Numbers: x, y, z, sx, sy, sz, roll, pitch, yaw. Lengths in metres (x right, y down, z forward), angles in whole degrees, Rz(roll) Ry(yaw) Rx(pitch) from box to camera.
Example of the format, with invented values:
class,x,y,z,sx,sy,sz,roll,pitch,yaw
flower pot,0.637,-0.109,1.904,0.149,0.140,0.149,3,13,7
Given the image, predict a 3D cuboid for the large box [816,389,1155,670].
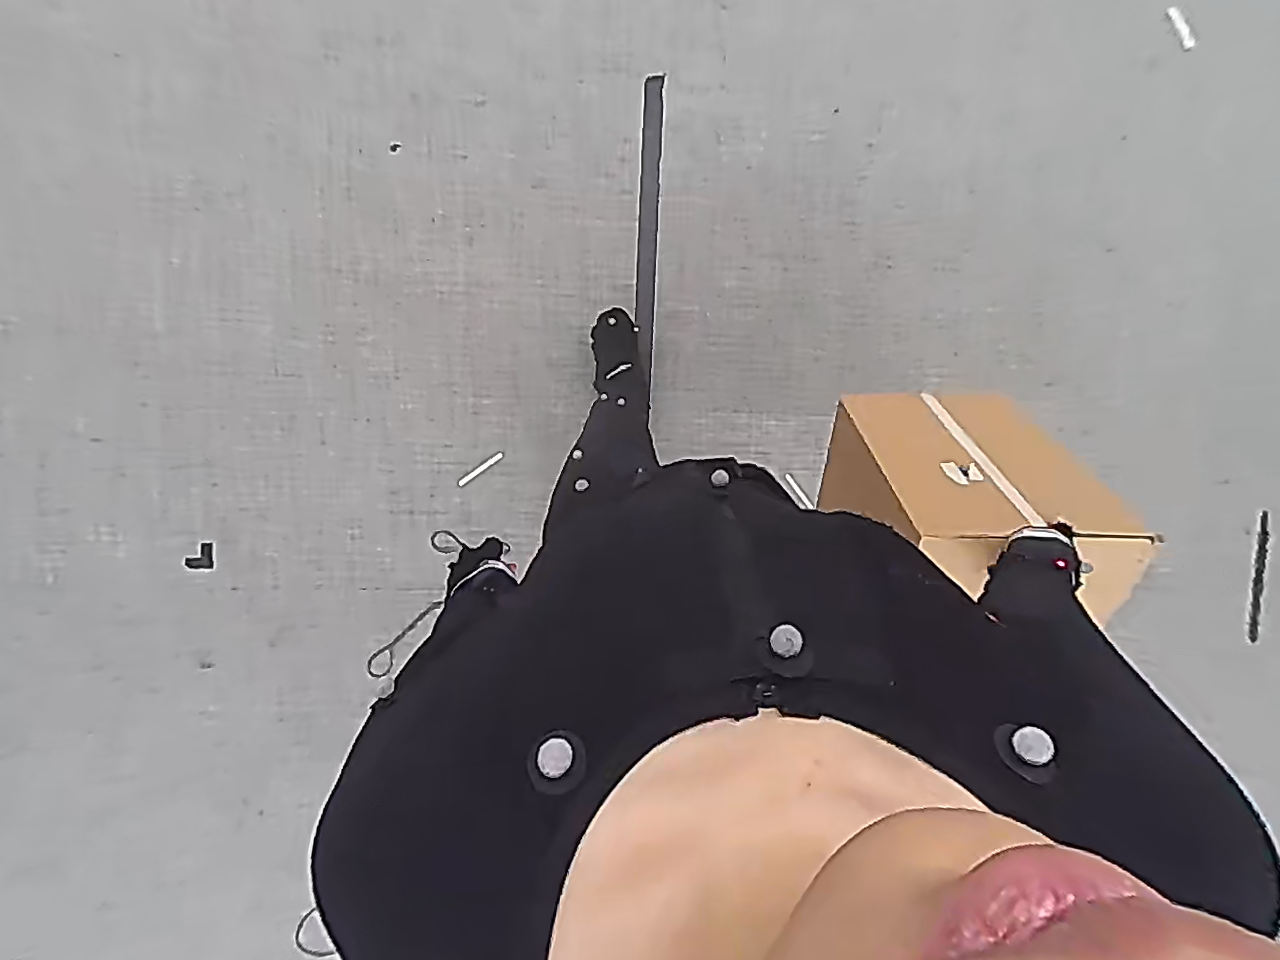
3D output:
class,x,y,z,sx,sy,sz,roll,pitch,yaw
large box,0.535,0.072,0.962,0.320,0.408,0.320,0,128,3
